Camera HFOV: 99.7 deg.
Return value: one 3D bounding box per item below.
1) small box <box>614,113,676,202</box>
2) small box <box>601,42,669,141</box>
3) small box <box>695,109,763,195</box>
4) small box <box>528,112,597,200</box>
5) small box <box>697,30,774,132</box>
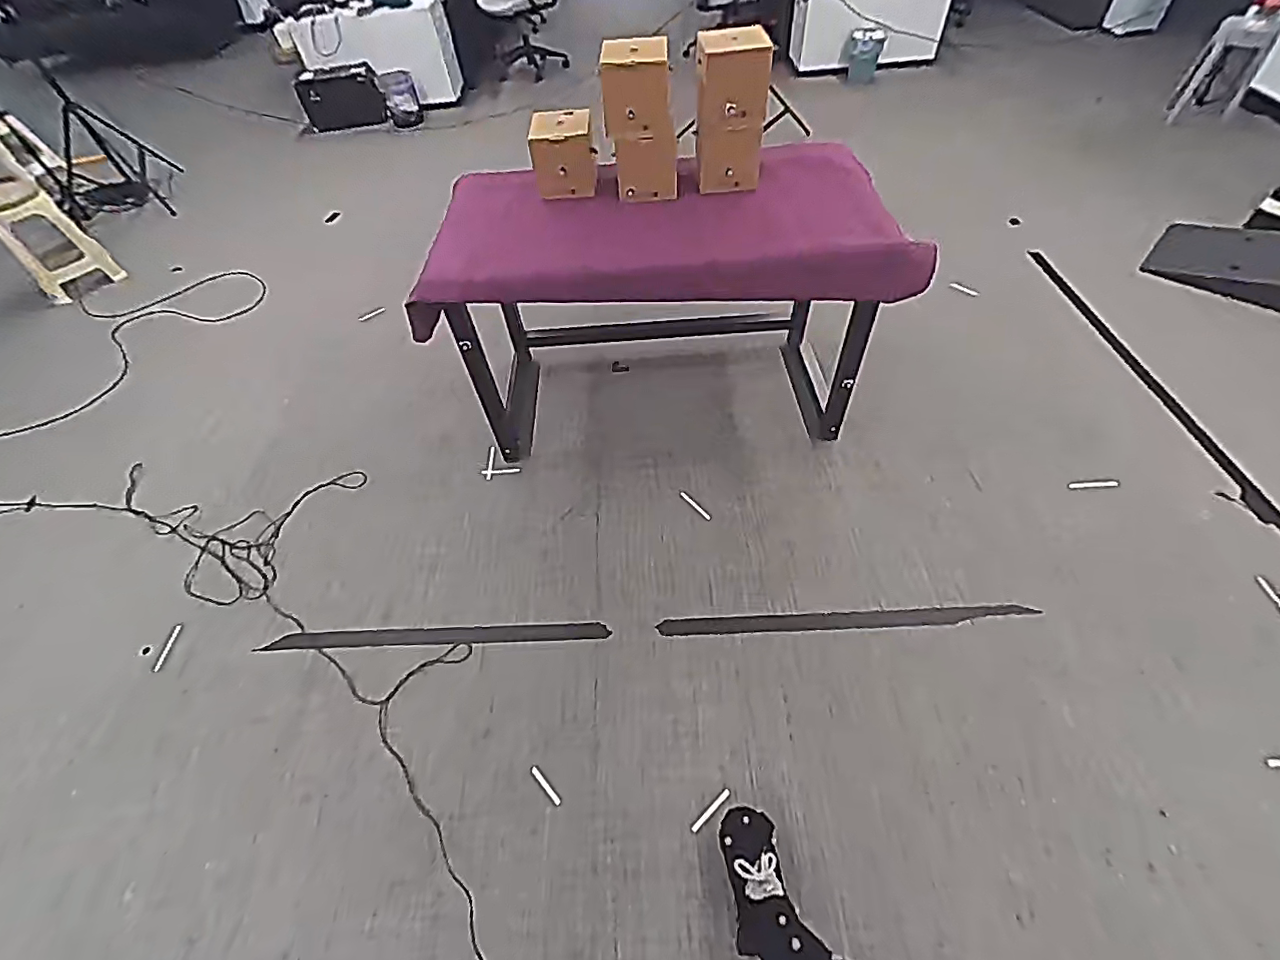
[{"bbox_3d":[0.016,-0.908,1.535,0.168,0.176,0.179,-3,52,2],"label":"small box"},{"bbox_3d":[-0.008,-1.010,1.410,0.168,0.176,0.179,-1,54,3],"label":"small box"},{"bbox_3d":[0.246,-0.937,1.539,0.168,0.176,0.179,-4,53,3],"label":"small box"},{"bbox_3d":[-0.218,-0.936,1.574,0.168,0.176,0.179,-2,54,3],"label":"small box"},{"bbox_3d":[0.241,-1.040,1.413,0.168,0.176,0.179,-6,53,1],"label":"small box"}]
